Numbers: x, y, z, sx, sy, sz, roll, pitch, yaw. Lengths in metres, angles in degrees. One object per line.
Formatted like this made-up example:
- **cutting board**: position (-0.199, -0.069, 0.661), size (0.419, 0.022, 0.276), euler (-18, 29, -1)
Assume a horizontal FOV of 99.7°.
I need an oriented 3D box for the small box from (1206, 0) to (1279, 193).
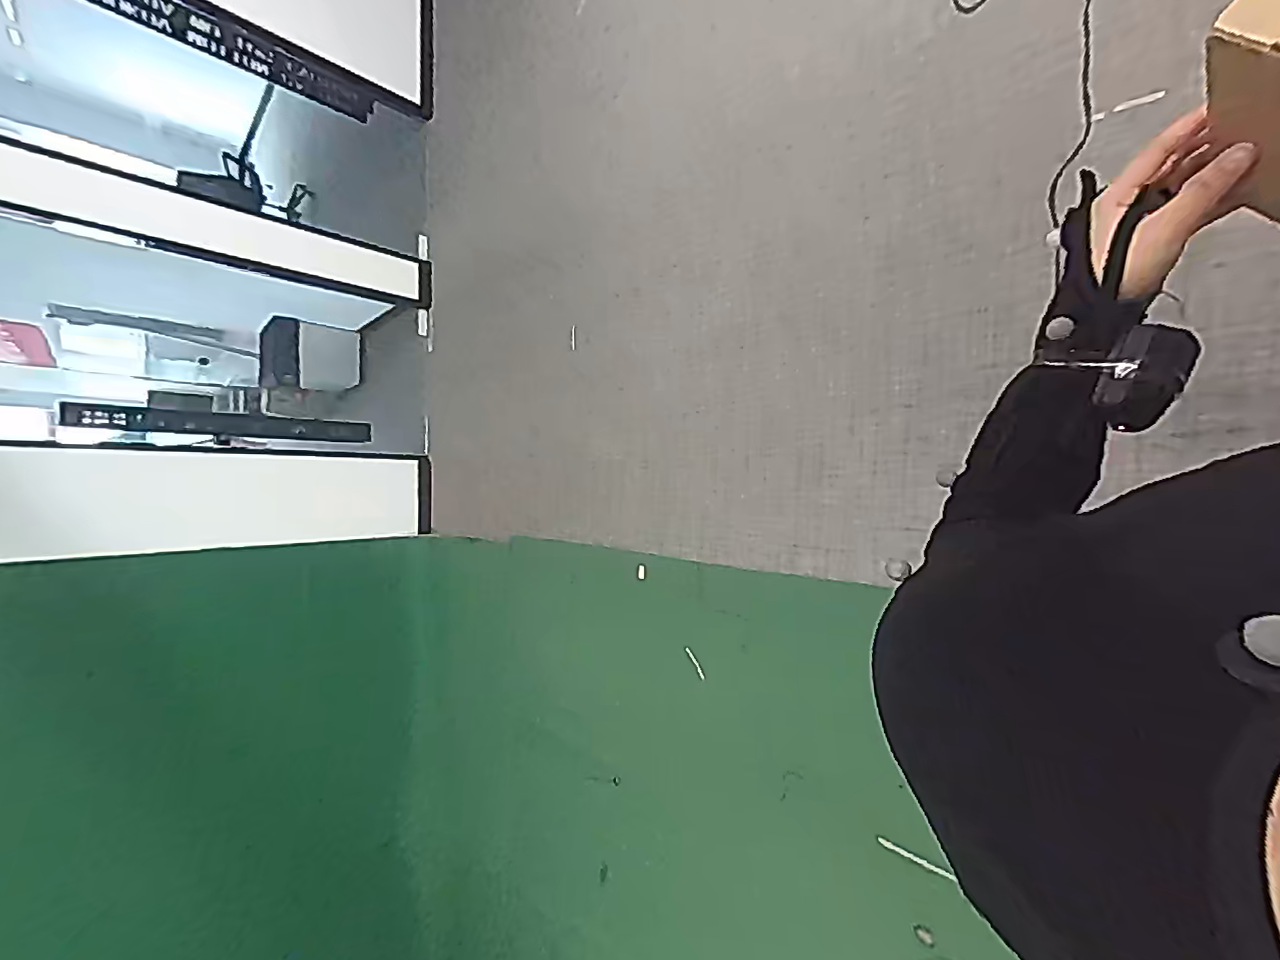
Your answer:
- **small box**: position (0.422, -0.217, 0.237), size (0.179, 0.176, 0.168), euler (-50, 51, 30)
